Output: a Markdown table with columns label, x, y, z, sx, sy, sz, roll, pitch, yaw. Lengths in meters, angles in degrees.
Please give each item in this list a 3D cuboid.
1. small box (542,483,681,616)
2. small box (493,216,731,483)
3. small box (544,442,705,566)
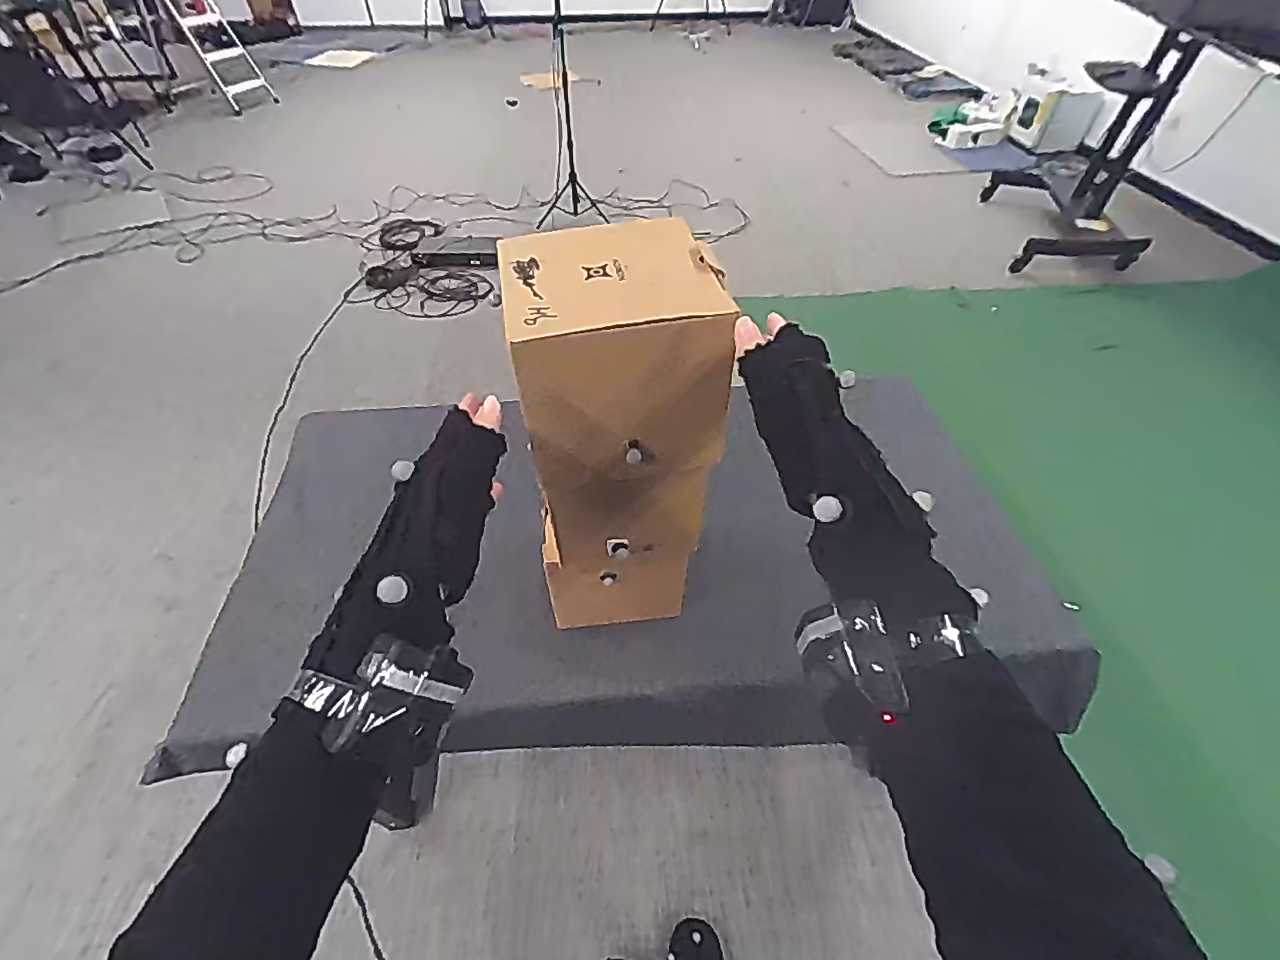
| label | x | y | z | sx | sy | sz | roll | pitch | yaw |
| --- | --- | --- | --- | --- | --- | --- | --- | --- | --- |
| small box | -0.038 | 0.078 | 0.761 | 0.179 | 0.176 | 0.168 | -5 | 49 | -4 |
| small box | -0.031 | -0.118 | 0.500 | 0.179 | 0.176 | 0.168 | -9 | 48 | -7 |
| small box | -0.029 | -0.024 | 0.636 | 0.168 | 0.176 | 0.179 | -10 | 51 | -6 |
